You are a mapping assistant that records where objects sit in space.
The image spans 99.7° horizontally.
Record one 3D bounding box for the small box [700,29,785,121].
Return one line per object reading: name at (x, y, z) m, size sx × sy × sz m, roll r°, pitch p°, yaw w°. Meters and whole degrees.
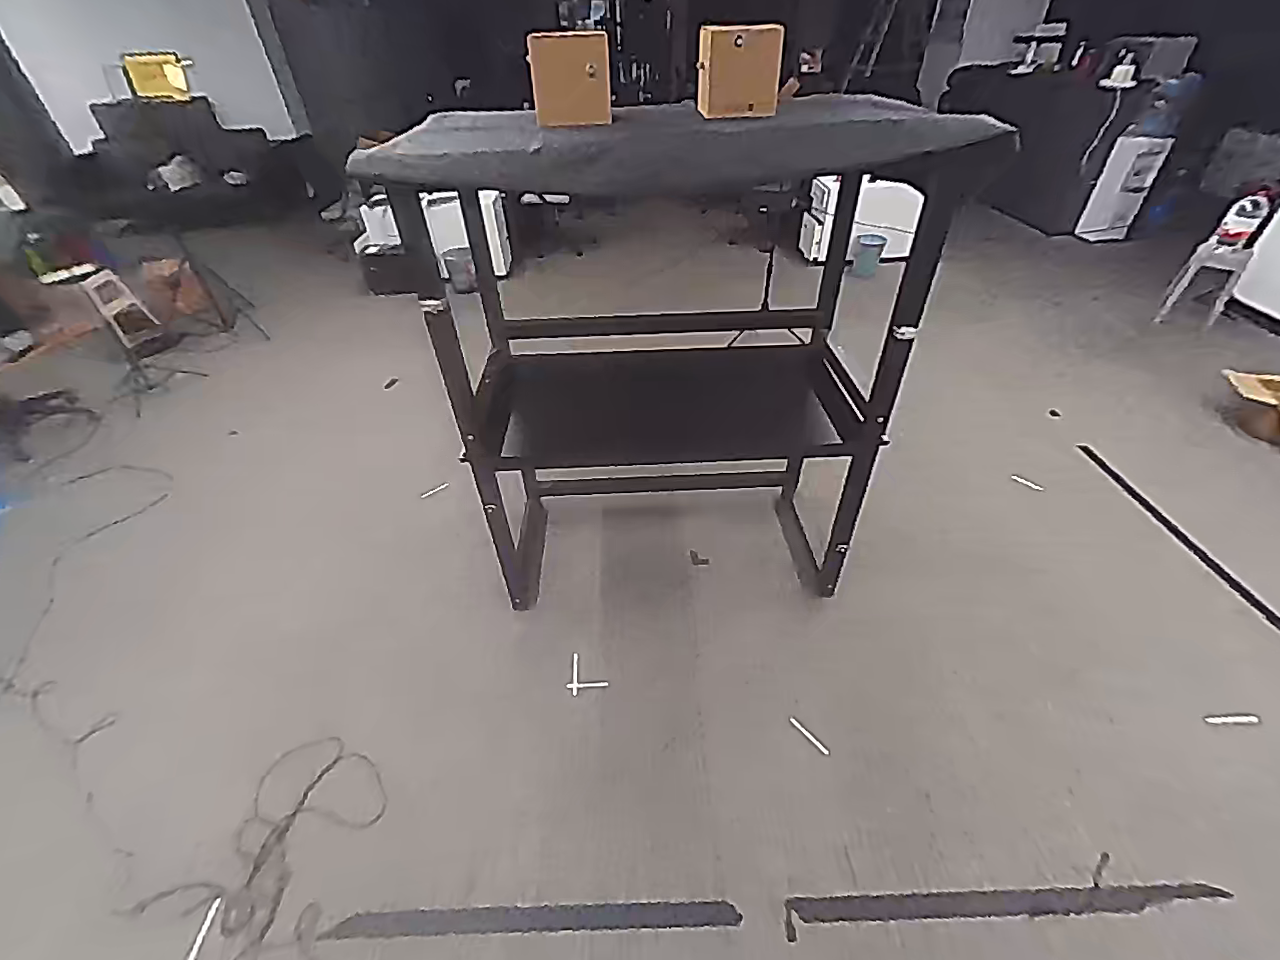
small box at (0.239, -0.980, 1.310) m, size 0.168 × 0.176 × 0.179 m, roll -3°, pitch 40°, yaw -1°
